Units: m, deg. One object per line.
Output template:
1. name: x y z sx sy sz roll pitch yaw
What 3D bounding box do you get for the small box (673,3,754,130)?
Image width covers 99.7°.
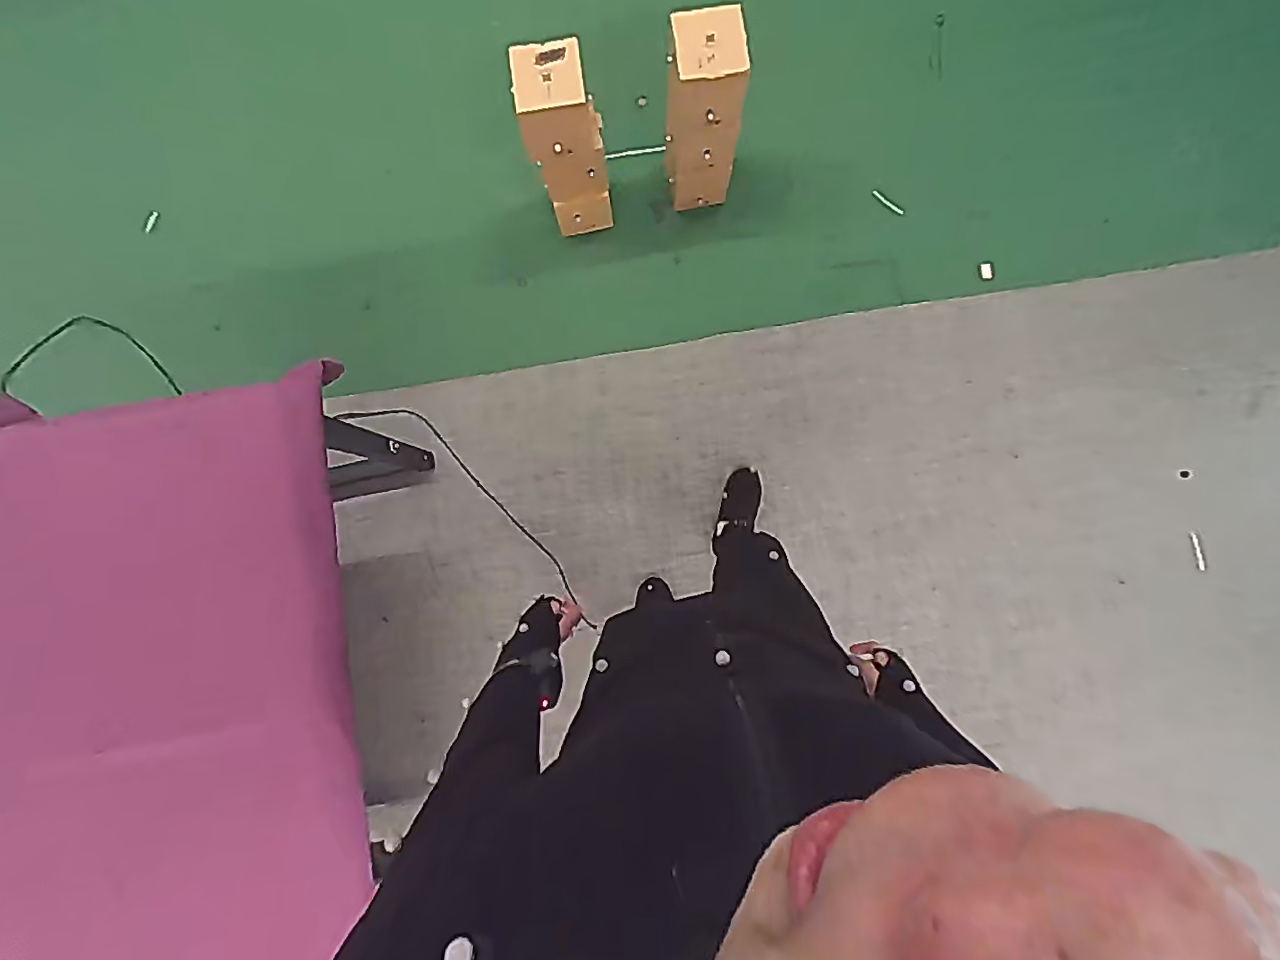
1. small box: 0.173 -1.004 1.324 0.168 0.176 0.179 -7 85 1

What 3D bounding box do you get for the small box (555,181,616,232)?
1. small box: -0.173 -0.885 1.655 0.168 0.176 0.179 -12 83 1

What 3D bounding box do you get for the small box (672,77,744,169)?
1. small box: 0.181 -0.988 1.488 0.168 0.176 0.179 -8 86 0

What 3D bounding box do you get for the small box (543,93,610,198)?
1. small box: -0.182 -0.917 1.495 0.179 0.176 0.168 -12 83 1

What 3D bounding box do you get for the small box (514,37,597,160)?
1. small box: -0.204 -0.932 1.333 0.168 0.176 0.179 -8 83 1
